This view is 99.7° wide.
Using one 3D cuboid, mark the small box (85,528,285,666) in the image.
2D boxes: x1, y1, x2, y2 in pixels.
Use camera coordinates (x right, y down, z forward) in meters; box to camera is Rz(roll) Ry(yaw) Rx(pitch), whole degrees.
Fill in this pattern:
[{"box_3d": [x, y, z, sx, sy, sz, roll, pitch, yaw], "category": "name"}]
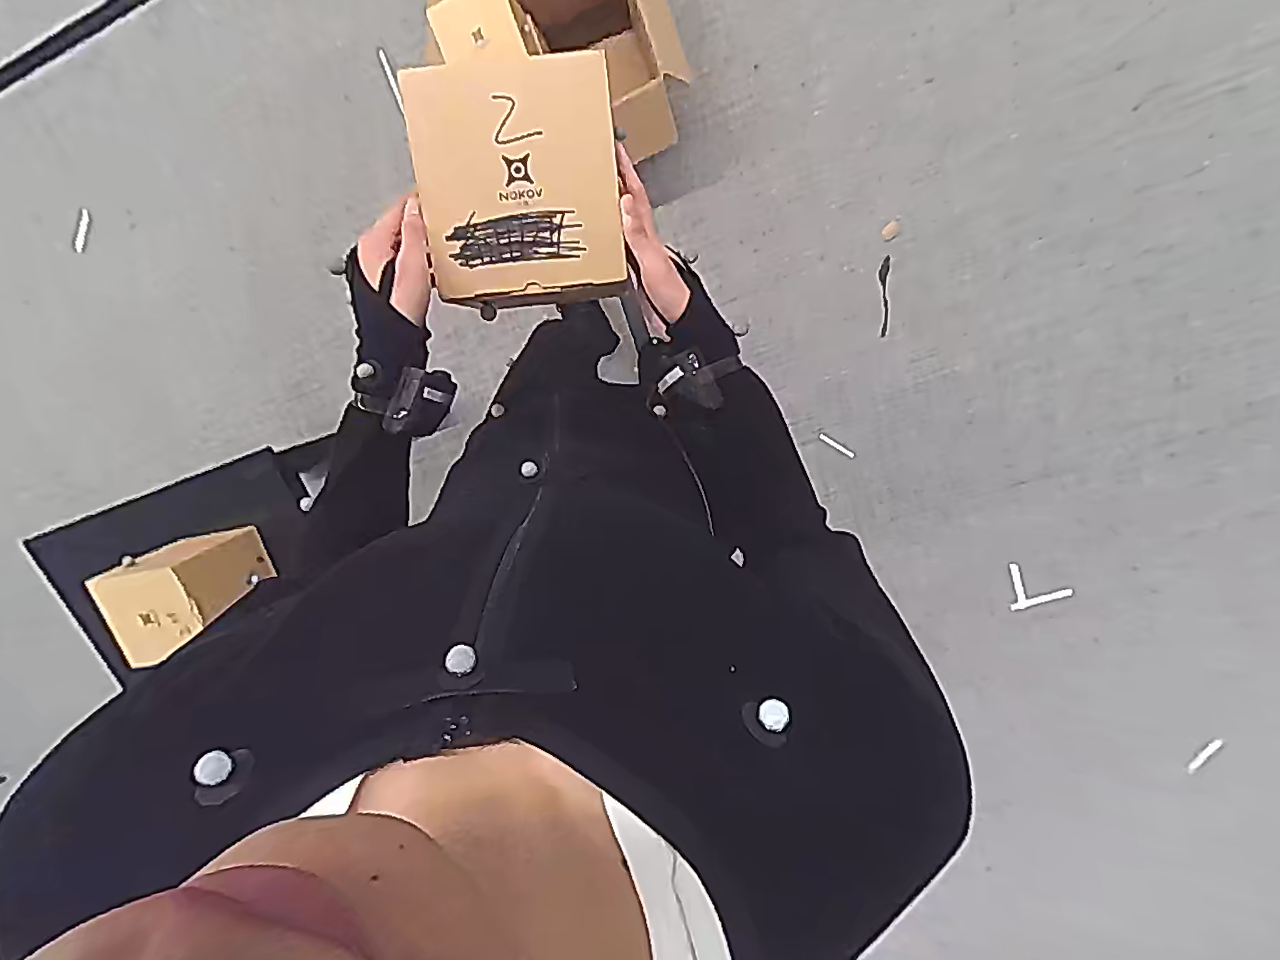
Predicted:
[{"box_3d": [-0.782, 0.199, 0.949, 0.179, 0.176, 0.168, -10, 107, 9], "category": "small box"}]
